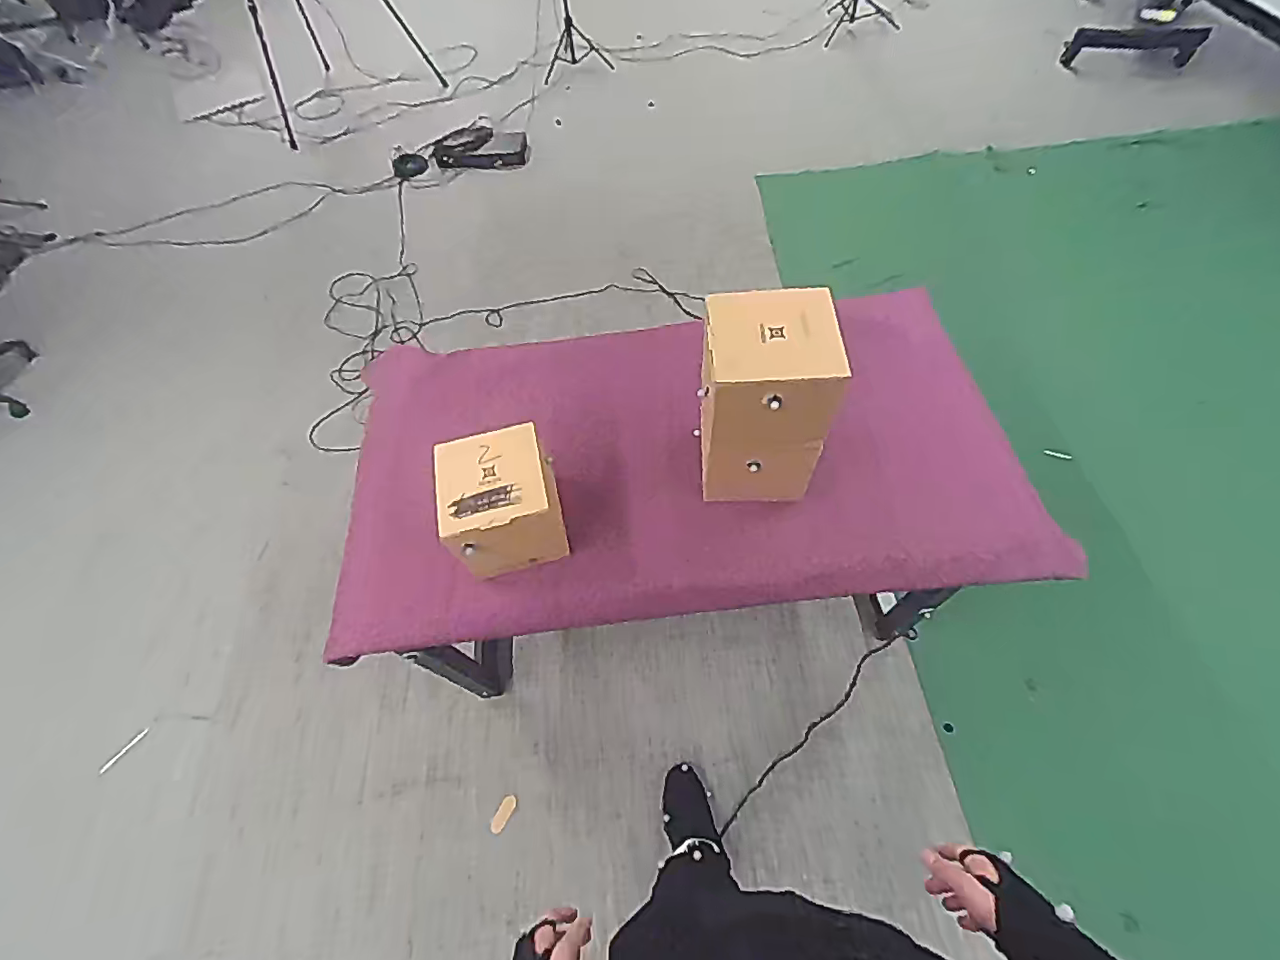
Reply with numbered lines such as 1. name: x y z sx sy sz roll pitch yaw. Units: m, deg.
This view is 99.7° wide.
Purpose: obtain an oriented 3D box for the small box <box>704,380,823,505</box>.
1. small box: 0.200 -0.065 0.932 0.179 0.176 0.168 -1 59 4

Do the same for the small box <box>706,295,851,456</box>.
1. small box: 0.187 -0.146 0.791 0.179 0.176 0.168 -2 60 4
